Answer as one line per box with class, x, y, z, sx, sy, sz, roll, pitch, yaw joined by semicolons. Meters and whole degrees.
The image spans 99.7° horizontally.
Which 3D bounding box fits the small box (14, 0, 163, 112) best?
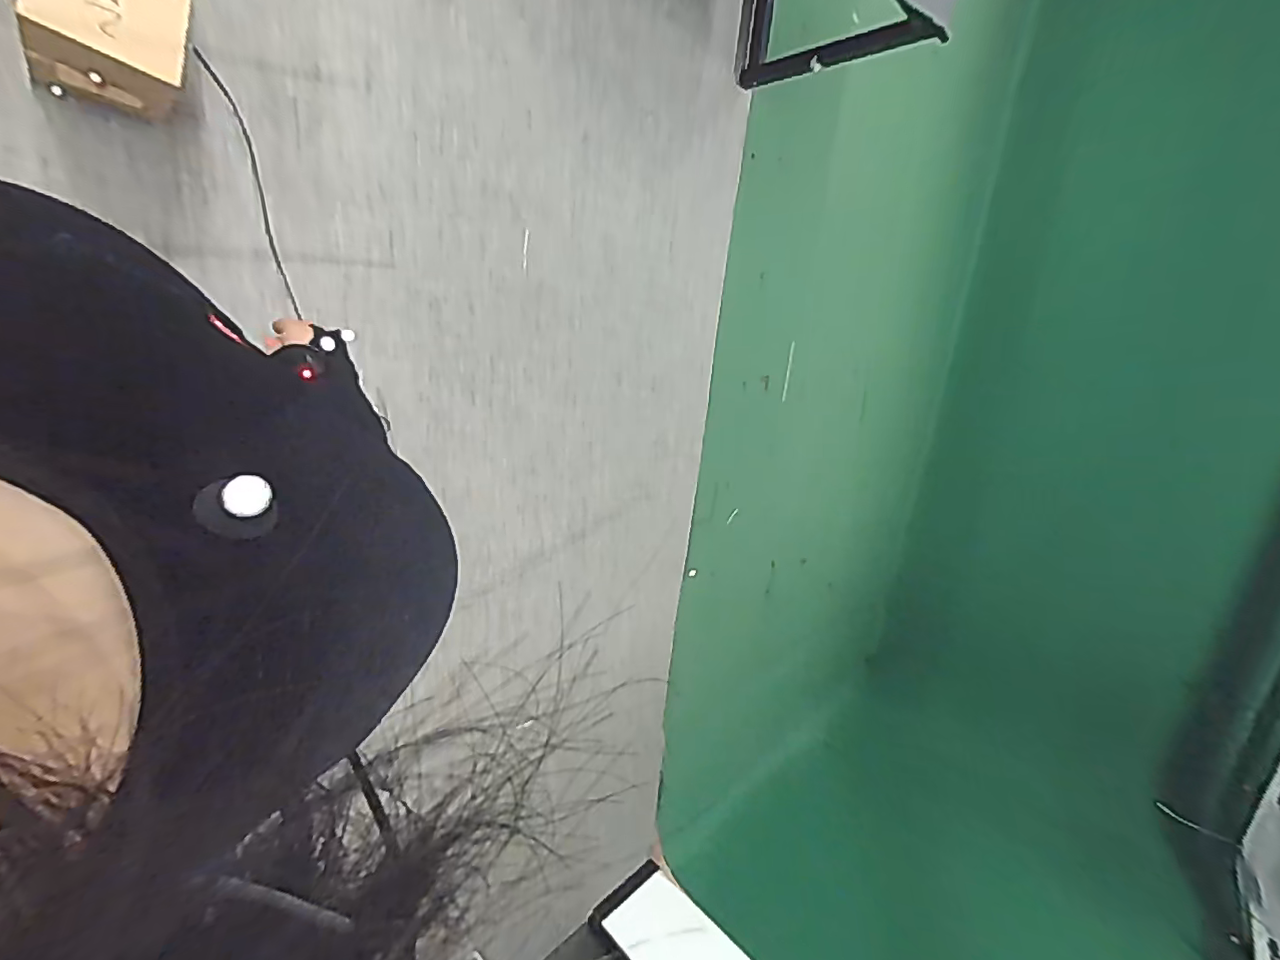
small box;-0.911;-0.750;0.898;0.168;0.176;0.179;-2;107;-47
